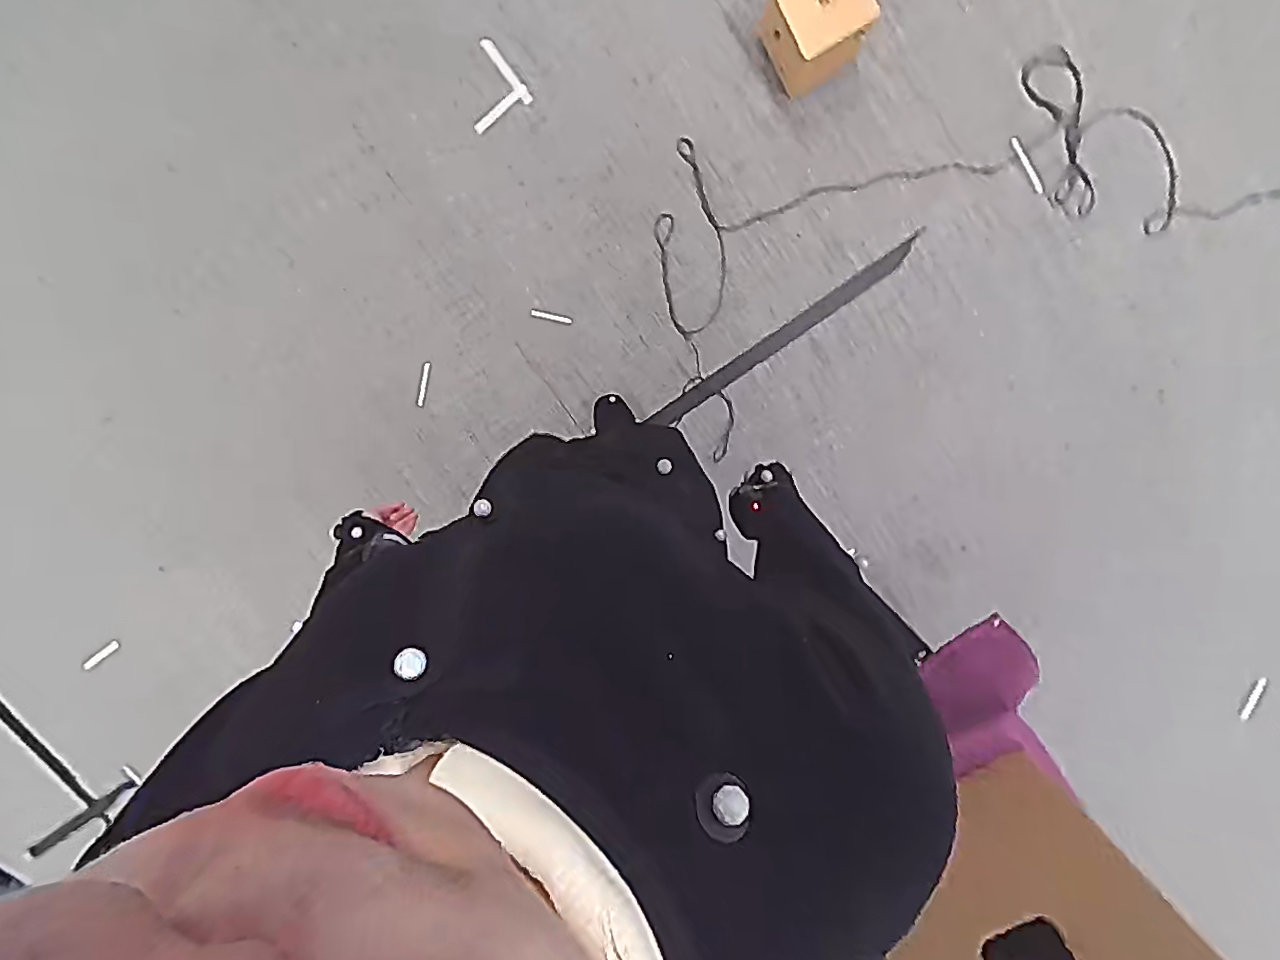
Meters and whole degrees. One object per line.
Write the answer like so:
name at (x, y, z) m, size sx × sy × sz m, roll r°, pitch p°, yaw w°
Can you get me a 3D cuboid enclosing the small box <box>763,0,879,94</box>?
small box at (0.386, -1.011, 1.195) m, size 0.179 × 0.176 × 0.168 m, roll -29°, pitch 97°, yaw 8°
